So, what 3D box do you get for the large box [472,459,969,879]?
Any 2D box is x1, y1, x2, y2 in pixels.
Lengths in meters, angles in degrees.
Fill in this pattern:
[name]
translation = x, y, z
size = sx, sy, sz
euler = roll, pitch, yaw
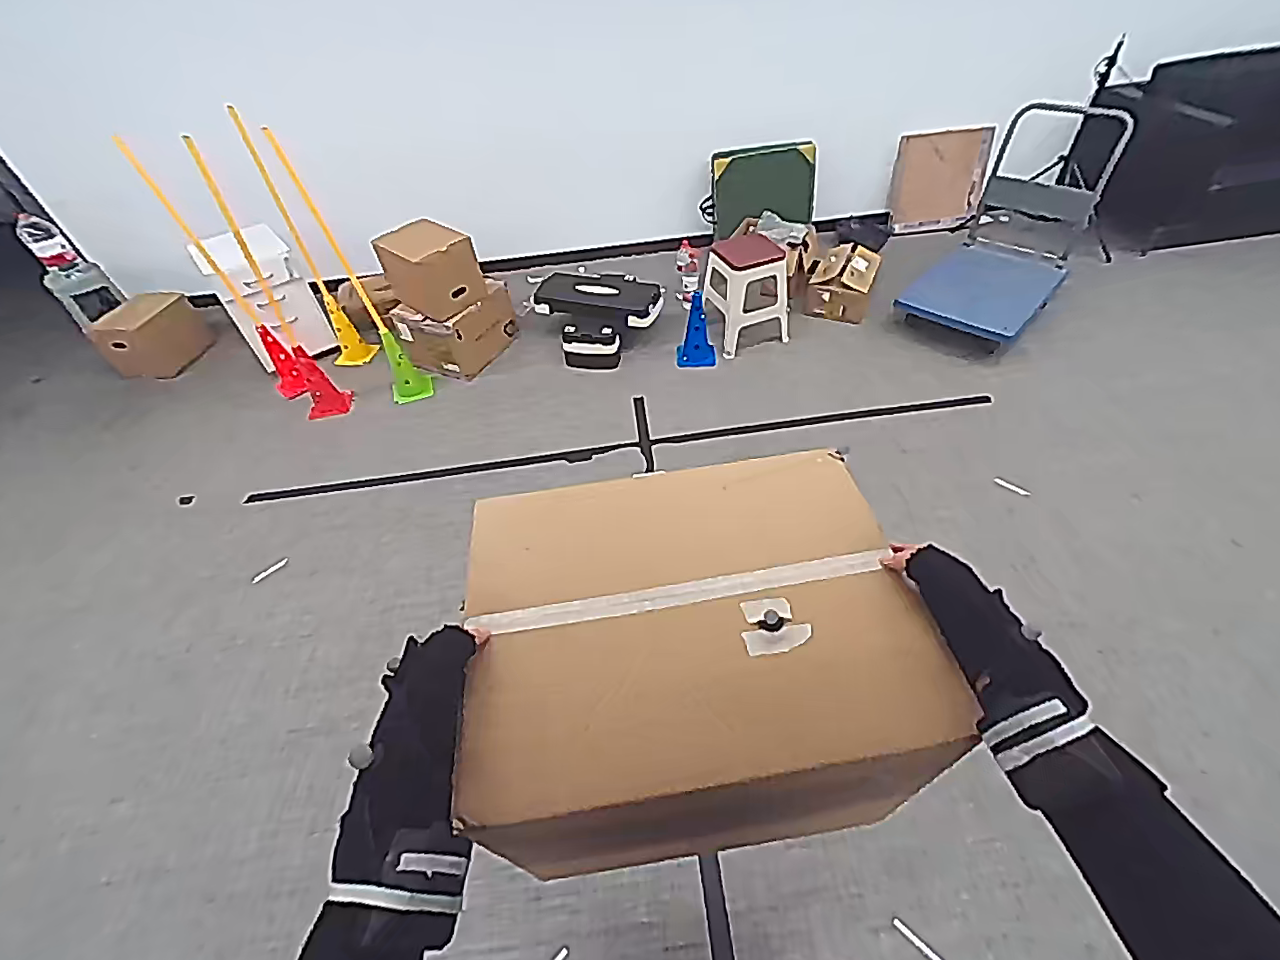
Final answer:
[large box]
translation = 0.053, 0.216, 0.622
size = 0.408, 0.320, 0.320
euler = -9, 48, -3
